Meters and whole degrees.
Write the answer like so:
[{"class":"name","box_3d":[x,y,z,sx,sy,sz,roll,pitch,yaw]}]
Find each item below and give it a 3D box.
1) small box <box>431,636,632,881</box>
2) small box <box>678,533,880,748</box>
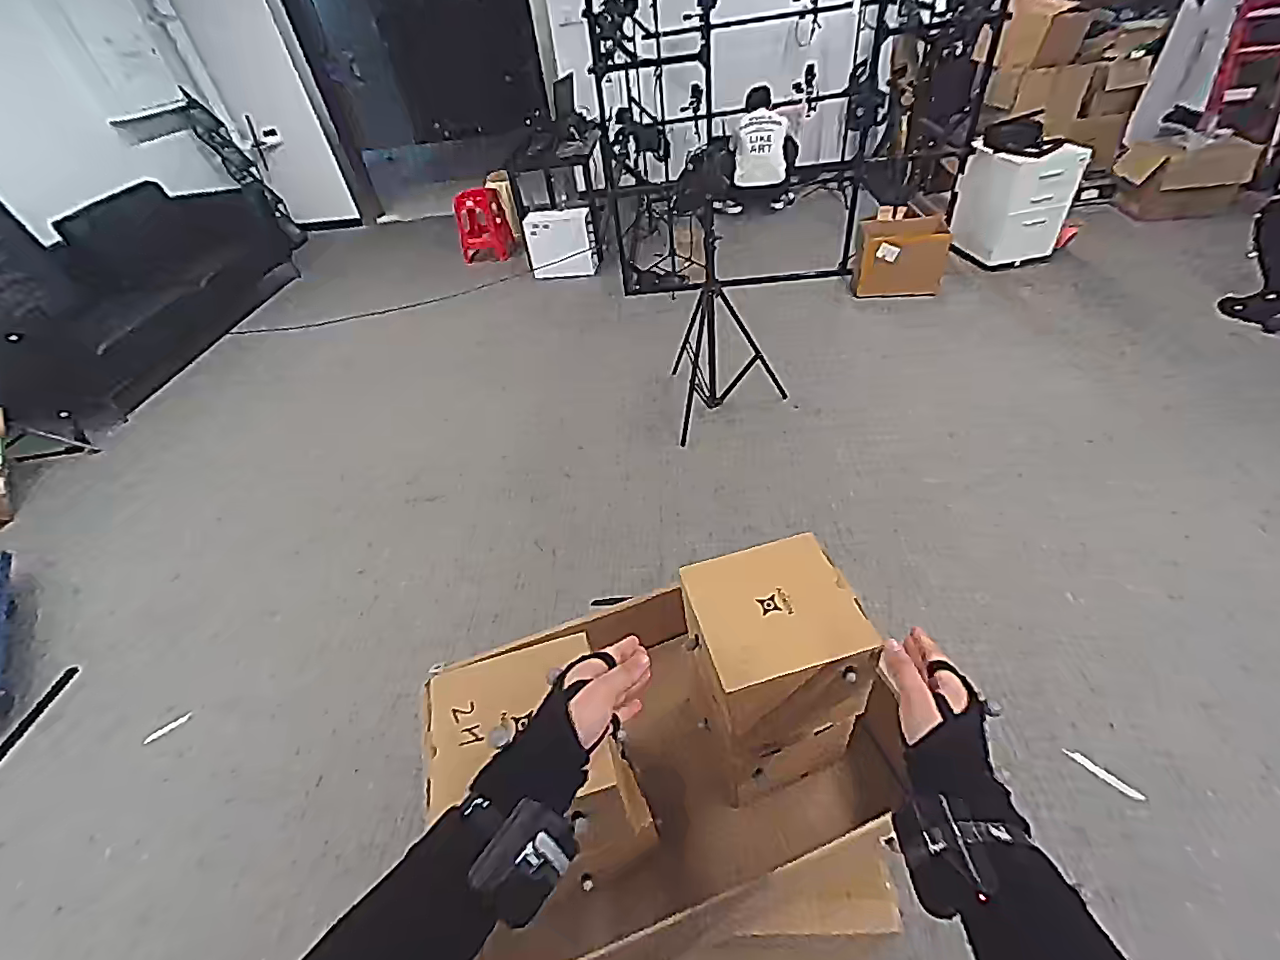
[{"class":"small box","box_3d":[-0.111,0.304,0.593,0.179,0.176,0.168,-15,43,-6]},{"class":"small box","box_3d":[0.159,0.198,0.660,0.179,0.176,0.168,-15,43,-6]}]
